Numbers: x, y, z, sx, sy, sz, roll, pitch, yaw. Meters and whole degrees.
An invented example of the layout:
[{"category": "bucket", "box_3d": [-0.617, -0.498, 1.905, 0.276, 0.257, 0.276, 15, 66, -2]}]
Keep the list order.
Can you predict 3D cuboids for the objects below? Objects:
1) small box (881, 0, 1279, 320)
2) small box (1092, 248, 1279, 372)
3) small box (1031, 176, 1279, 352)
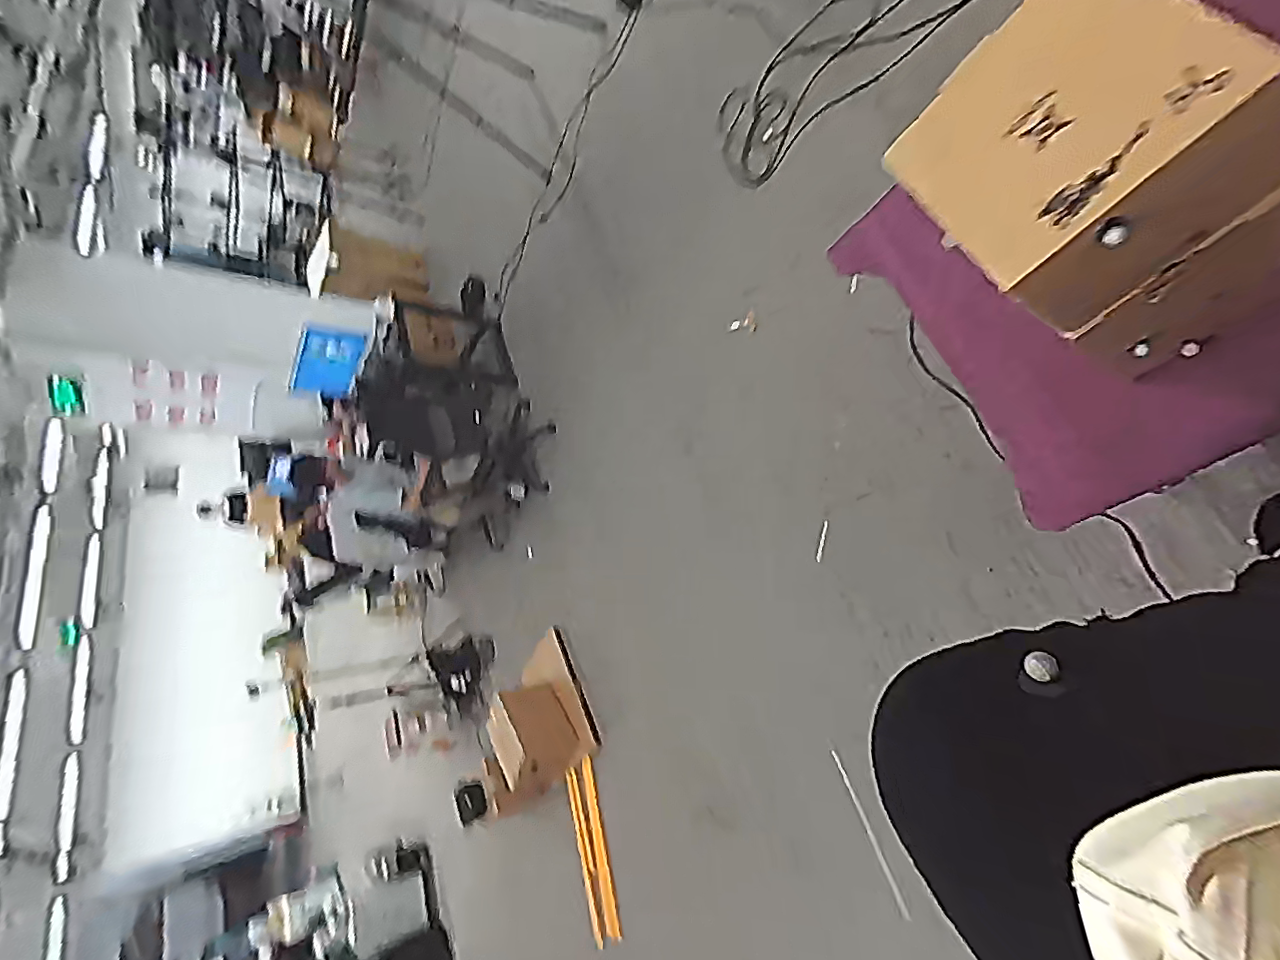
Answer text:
[{"category": "small box", "box_3d": [0.345, -0.257, 0.441, 0.168, 0.176, 0.179, -47, 53, 40]}, {"category": "small box", "box_3d": [0.598, -0.251, 0.649, 0.168, 0.176, 0.179, -46, 56, 40]}, {"category": "small box", "box_3d": [0.475, -0.247, 0.542, 0.168, 0.176, 0.179, -46, 54, 40]}]
